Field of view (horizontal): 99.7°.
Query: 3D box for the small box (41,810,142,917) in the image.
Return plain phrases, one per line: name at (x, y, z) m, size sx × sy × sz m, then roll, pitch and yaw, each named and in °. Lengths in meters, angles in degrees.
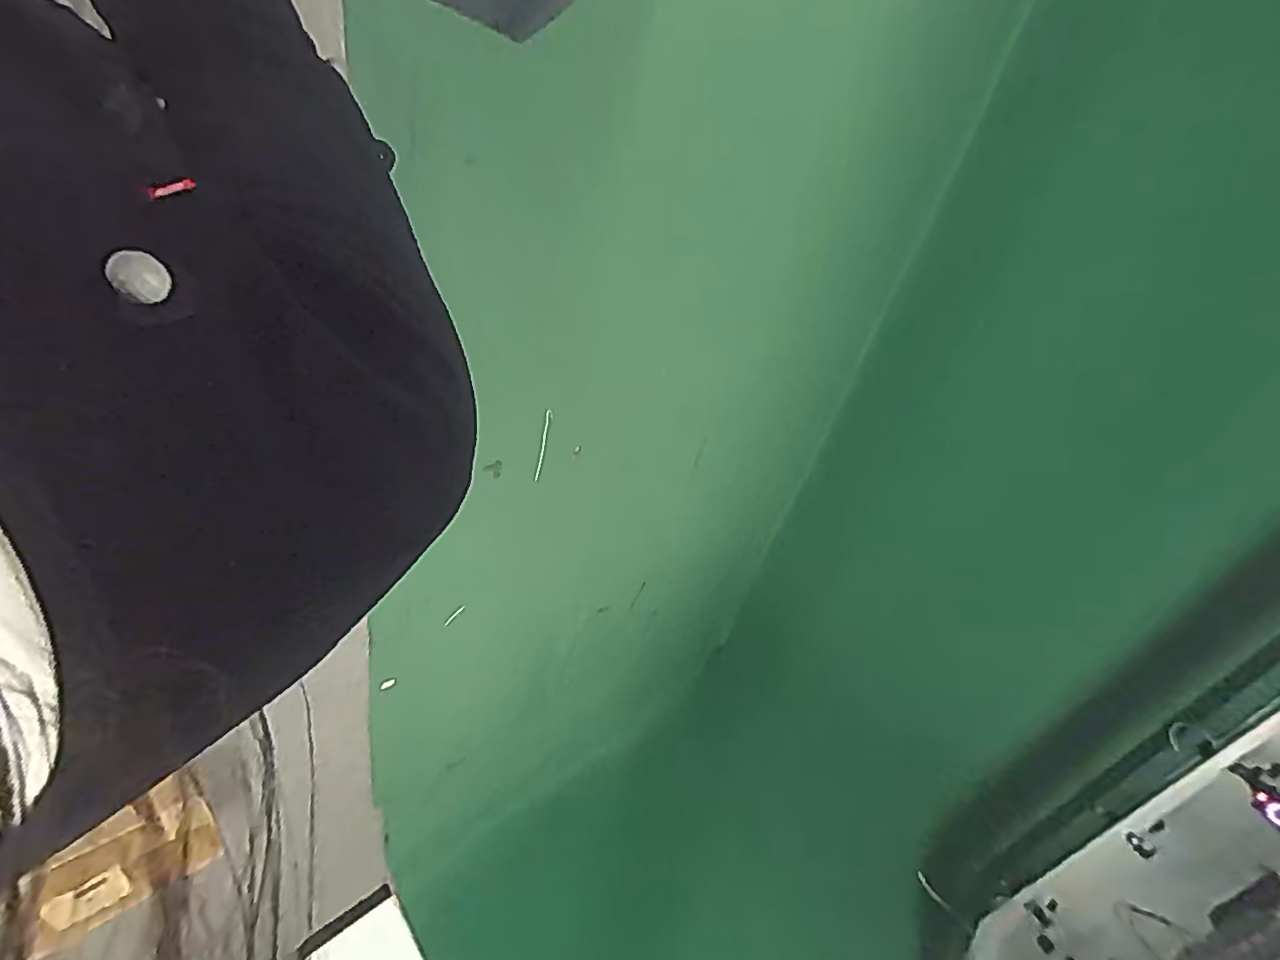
small box at (-1.606, 1.112, 1.584) m, size 0.168 × 0.176 × 0.179 m, roll -19°, pitch 137°, yaw -40°
